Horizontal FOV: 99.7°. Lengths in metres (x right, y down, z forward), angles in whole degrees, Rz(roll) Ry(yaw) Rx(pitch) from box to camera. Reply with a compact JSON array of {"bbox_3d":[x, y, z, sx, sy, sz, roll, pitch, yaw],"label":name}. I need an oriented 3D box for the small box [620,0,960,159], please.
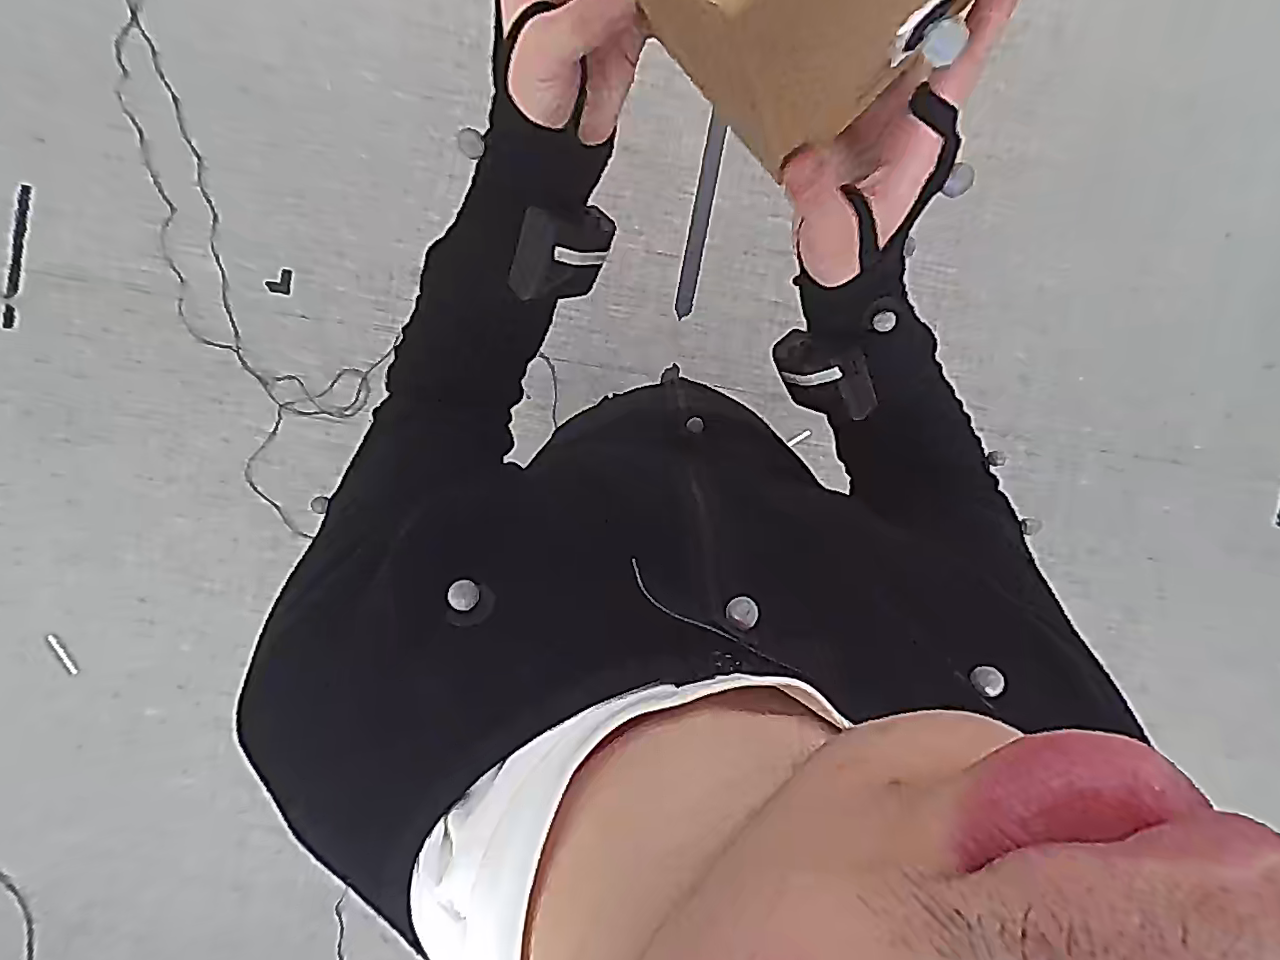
[{"bbox_3d":[0.045,-0.243,0.170,0.168,0.176,0.179,-41,90,26],"label":"small box"}]
